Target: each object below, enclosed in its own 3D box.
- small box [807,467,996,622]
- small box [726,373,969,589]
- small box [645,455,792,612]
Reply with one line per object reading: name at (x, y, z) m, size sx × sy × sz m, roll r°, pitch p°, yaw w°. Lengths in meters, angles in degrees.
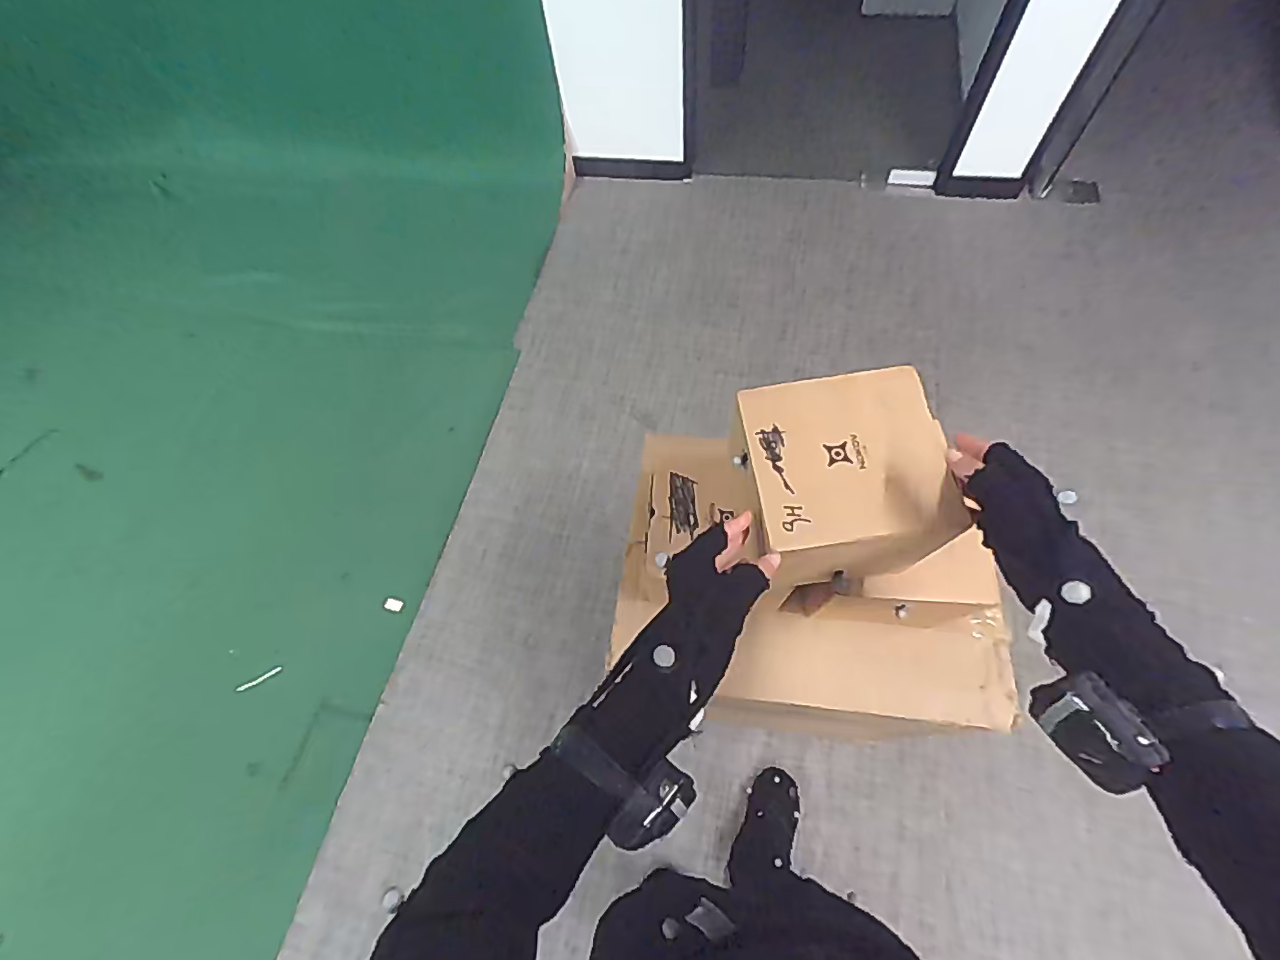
small box at (0.318, 0.089, 0.705) m, size 0.179 × 0.176 × 0.168 m, roll 2°, pitch 68°, yaw 5°
small box at (0.196, 0.011, 0.571) m, size 0.179 × 0.176 × 0.168 m, roll -8°, pitch 66°, yaw 1°
small box at (0.106, 0.078, 0.729) m, size 0.179 × 0.176 × 0.168 m, roll 3°, pitch 67°, yaw 6°
